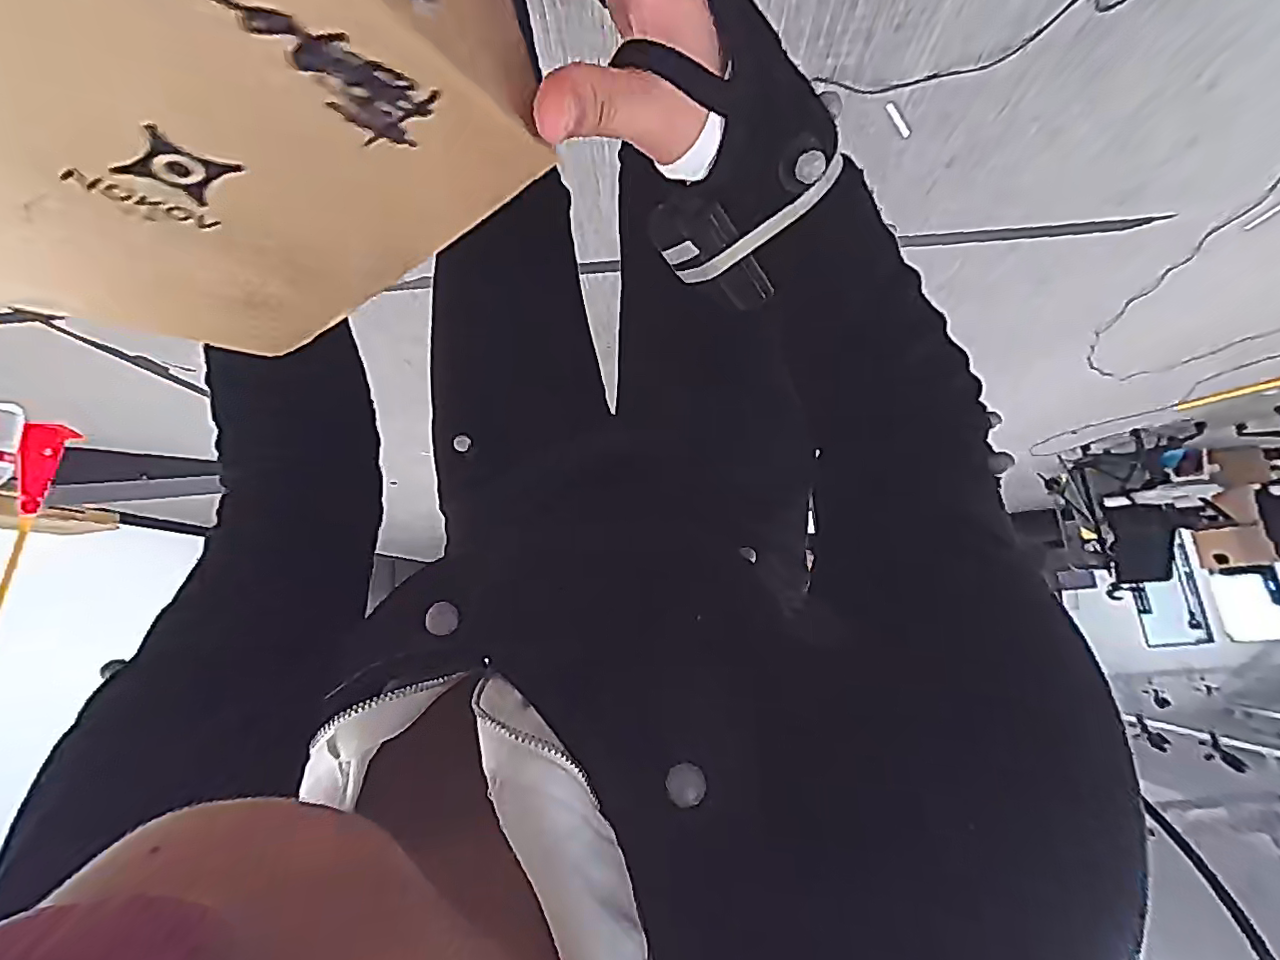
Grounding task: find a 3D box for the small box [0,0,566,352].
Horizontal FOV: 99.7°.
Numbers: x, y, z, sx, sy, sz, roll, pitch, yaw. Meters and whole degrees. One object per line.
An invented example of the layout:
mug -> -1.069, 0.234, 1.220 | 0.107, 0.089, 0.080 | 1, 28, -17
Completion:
small box -> -0.151, -0.162, 0.157 | 0.179, 0.176, 0.168 | -18, 173, 23
